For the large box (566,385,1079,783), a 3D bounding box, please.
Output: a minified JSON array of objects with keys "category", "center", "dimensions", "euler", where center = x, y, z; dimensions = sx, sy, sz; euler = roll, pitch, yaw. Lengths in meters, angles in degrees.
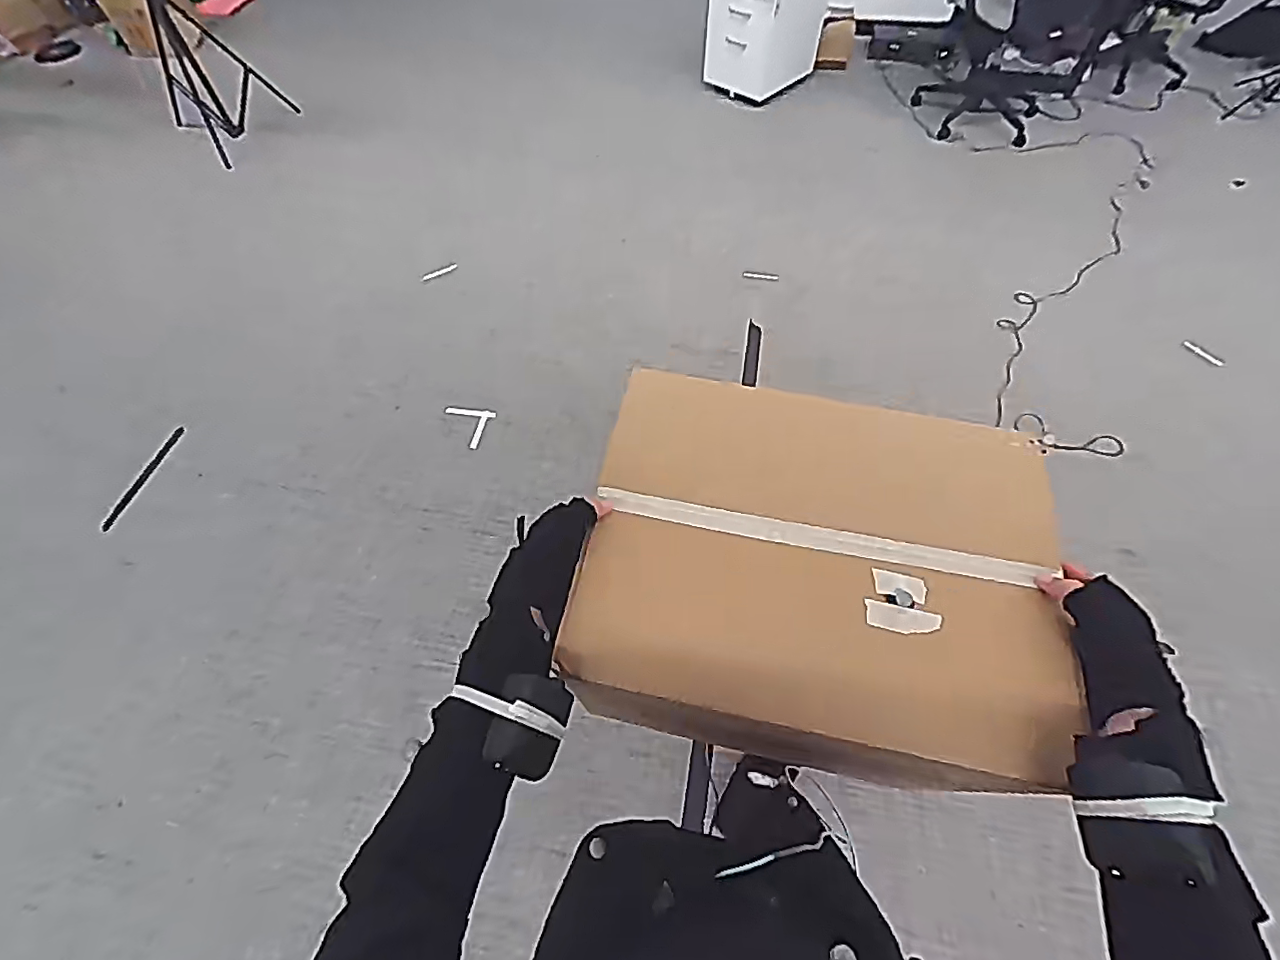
[{"category":"large box","center":[0.158,0.132,0.616],"dimensions":[0.408,0.320,0.320],"euler":[11,63,5]}]
